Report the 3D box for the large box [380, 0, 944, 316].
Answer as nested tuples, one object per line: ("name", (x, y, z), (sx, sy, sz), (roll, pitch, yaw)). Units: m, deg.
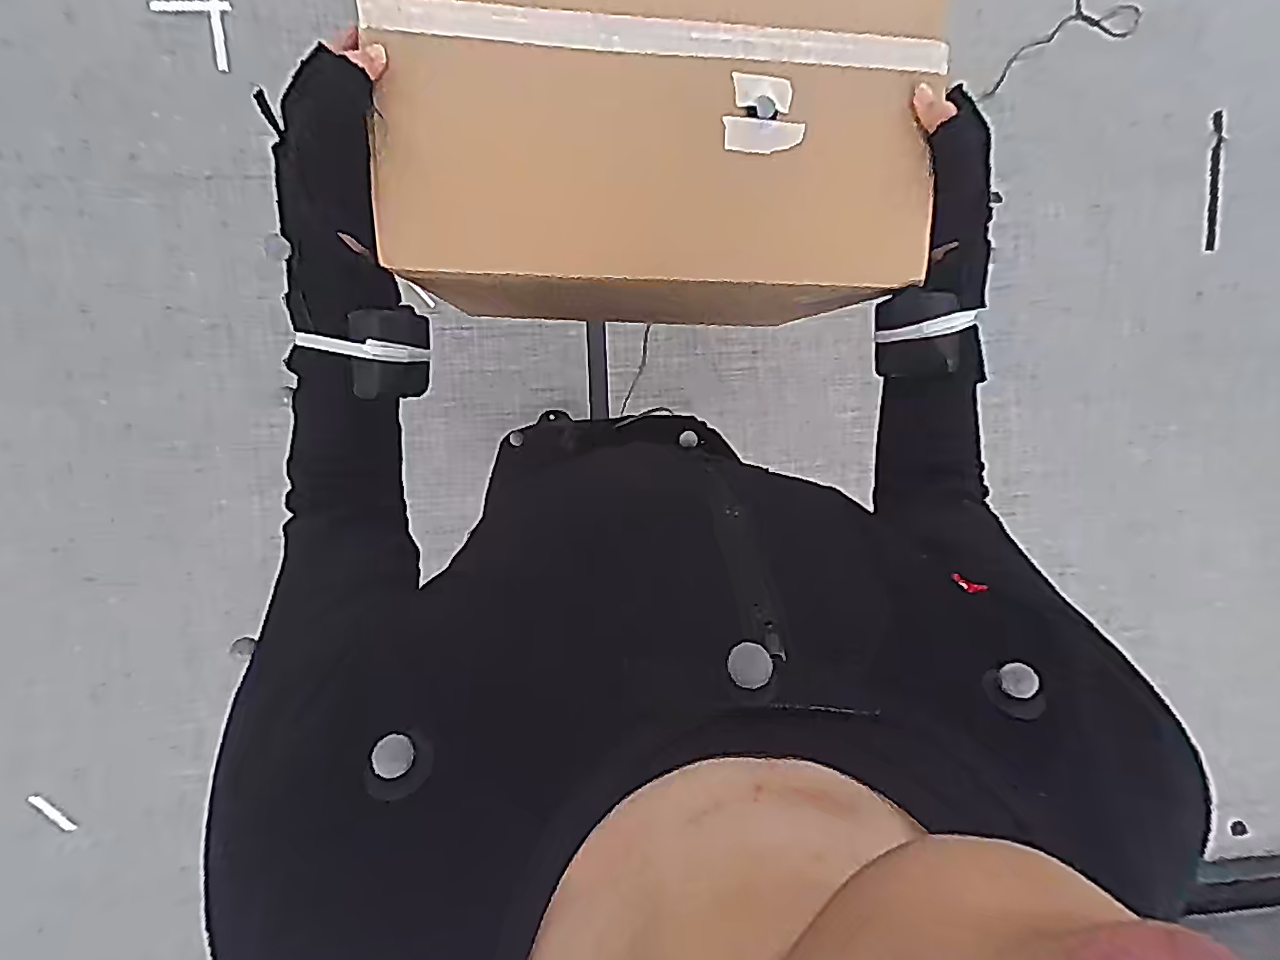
("large box", (0.004, -0.335, 0.525), (0.408, 0.320, 0.320), (-1, 102, -7))
